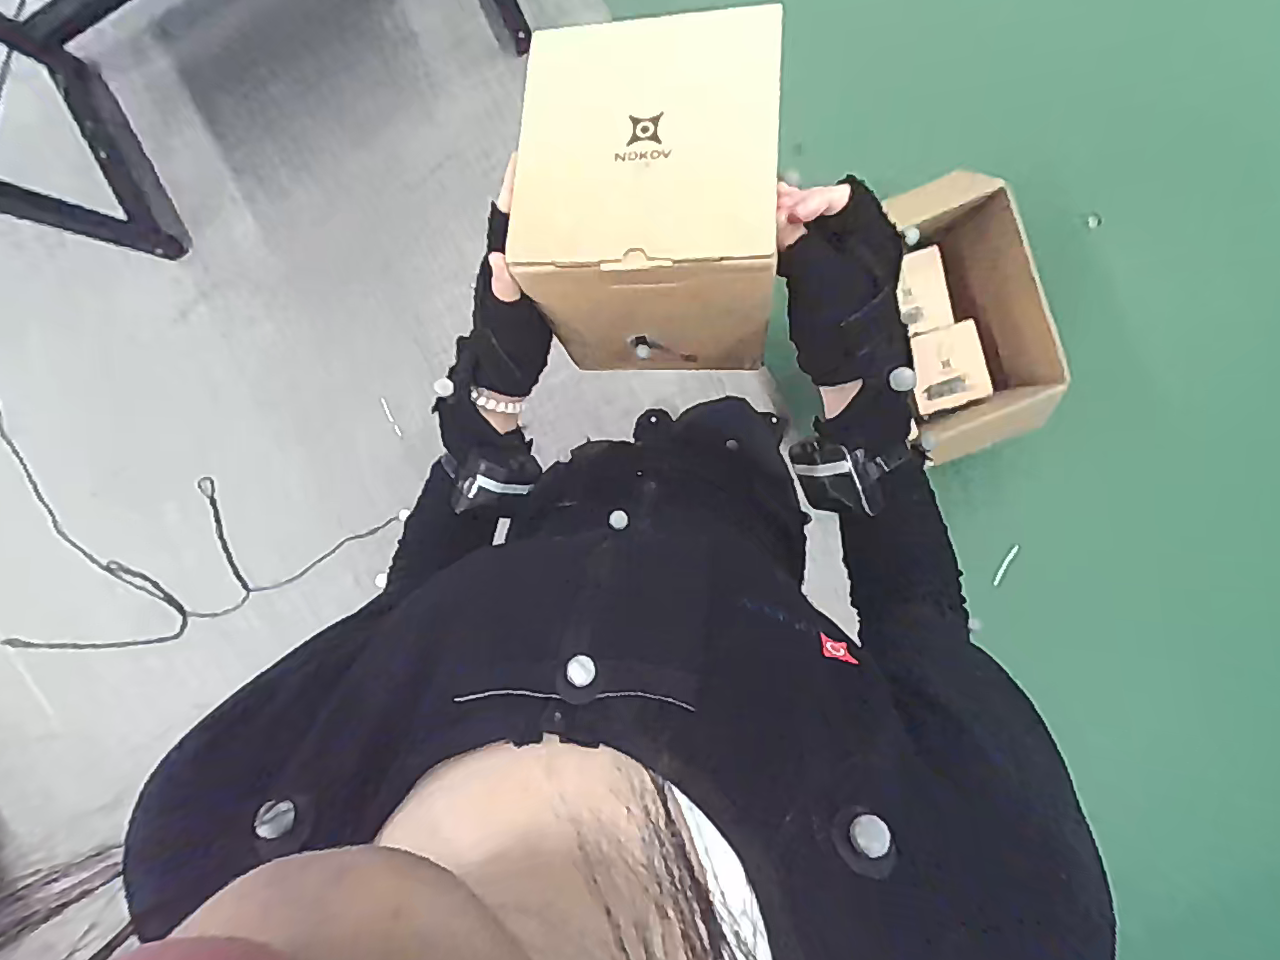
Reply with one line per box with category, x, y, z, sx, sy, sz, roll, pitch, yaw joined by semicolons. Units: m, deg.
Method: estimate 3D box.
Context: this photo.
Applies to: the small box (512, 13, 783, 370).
small box;0.016;-0.199;0.417;0.168;0.176;0.179;1;81;9
